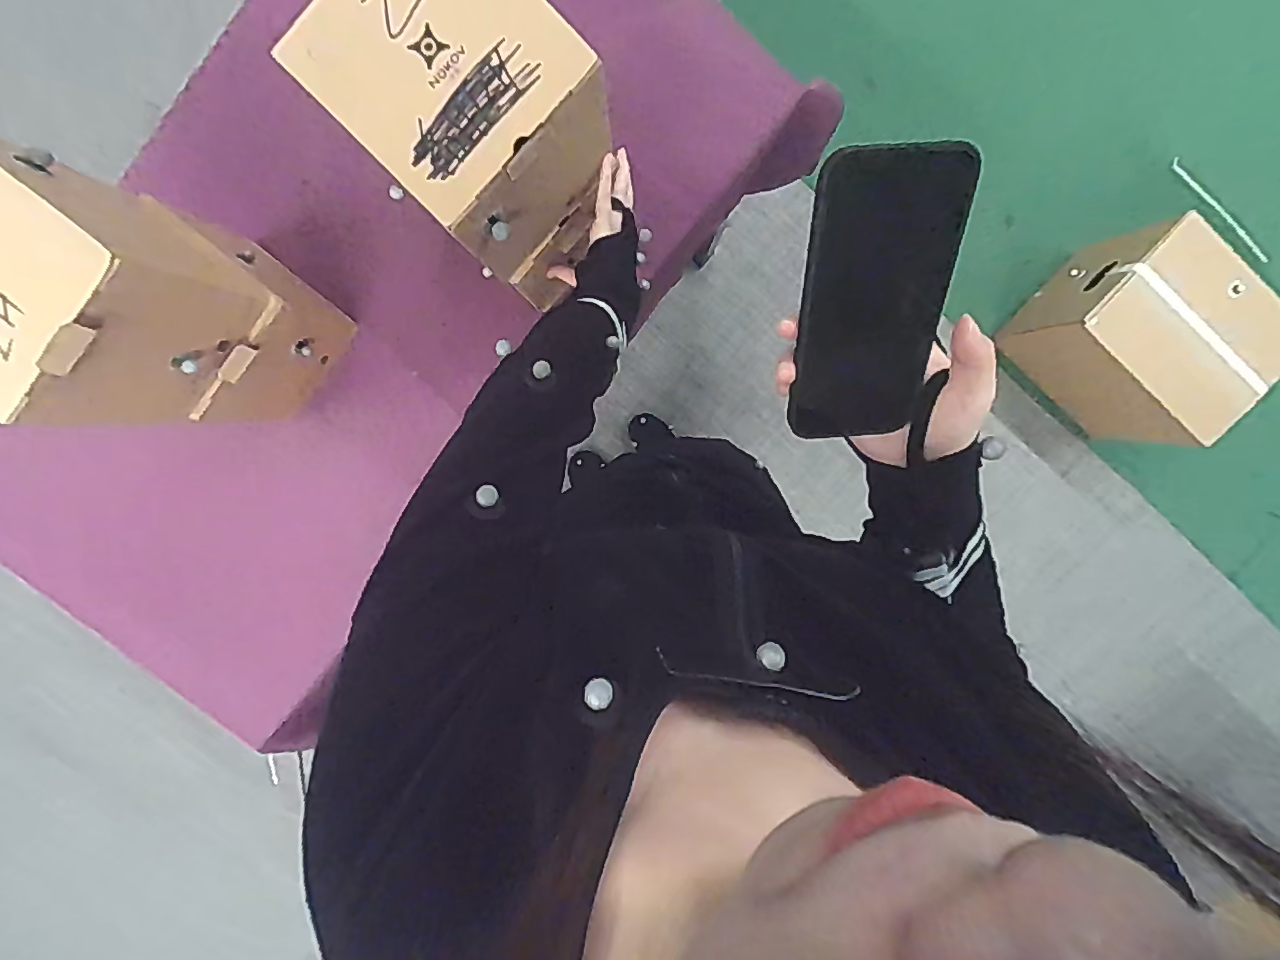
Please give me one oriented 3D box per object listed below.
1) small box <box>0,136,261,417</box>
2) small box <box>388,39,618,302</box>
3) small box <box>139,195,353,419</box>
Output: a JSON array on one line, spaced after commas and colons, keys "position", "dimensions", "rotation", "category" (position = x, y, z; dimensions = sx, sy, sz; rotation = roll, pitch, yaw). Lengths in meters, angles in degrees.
[{"position": [-0.508, -0.170, 0.489], "dimensions": [0.179, 0.176, 0.168], "rotation": [39, 96, -4], "category": "small box"}, {"position": [-0.142, -0.336, 0.631], "dimensions": [0.179, 0.176, 0.168], "rotation": [42, 96, -5], "category": "small box"}, {"position": [-0.494, -0.192, 0.652], "dimensions": [0.179, 0.176, 0.168], "rotation": [40, 95, -4], "category": "small box"}]
